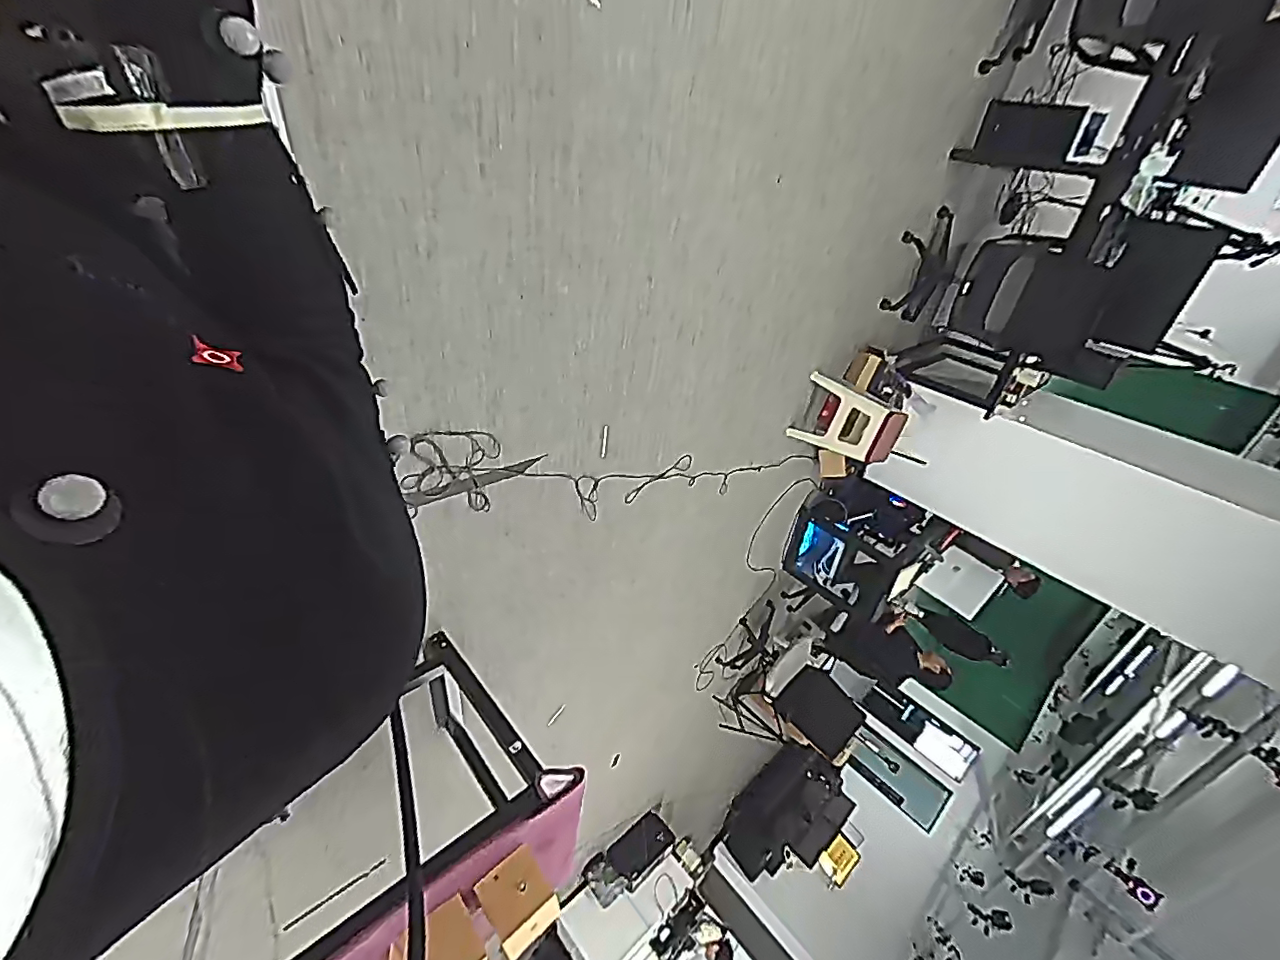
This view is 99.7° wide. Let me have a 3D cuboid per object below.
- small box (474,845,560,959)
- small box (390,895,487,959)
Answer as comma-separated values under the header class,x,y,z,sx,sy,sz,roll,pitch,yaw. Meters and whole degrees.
class,x,y,z,sx,sy,sz,roll,pitch,yaw
small box,-0.344,1.169,1.507,0.168,0.176,0.179,-28,136,-32
small box,-0.508,1.200,1.345,0.179,0.176,0.168,-12,127,-44
